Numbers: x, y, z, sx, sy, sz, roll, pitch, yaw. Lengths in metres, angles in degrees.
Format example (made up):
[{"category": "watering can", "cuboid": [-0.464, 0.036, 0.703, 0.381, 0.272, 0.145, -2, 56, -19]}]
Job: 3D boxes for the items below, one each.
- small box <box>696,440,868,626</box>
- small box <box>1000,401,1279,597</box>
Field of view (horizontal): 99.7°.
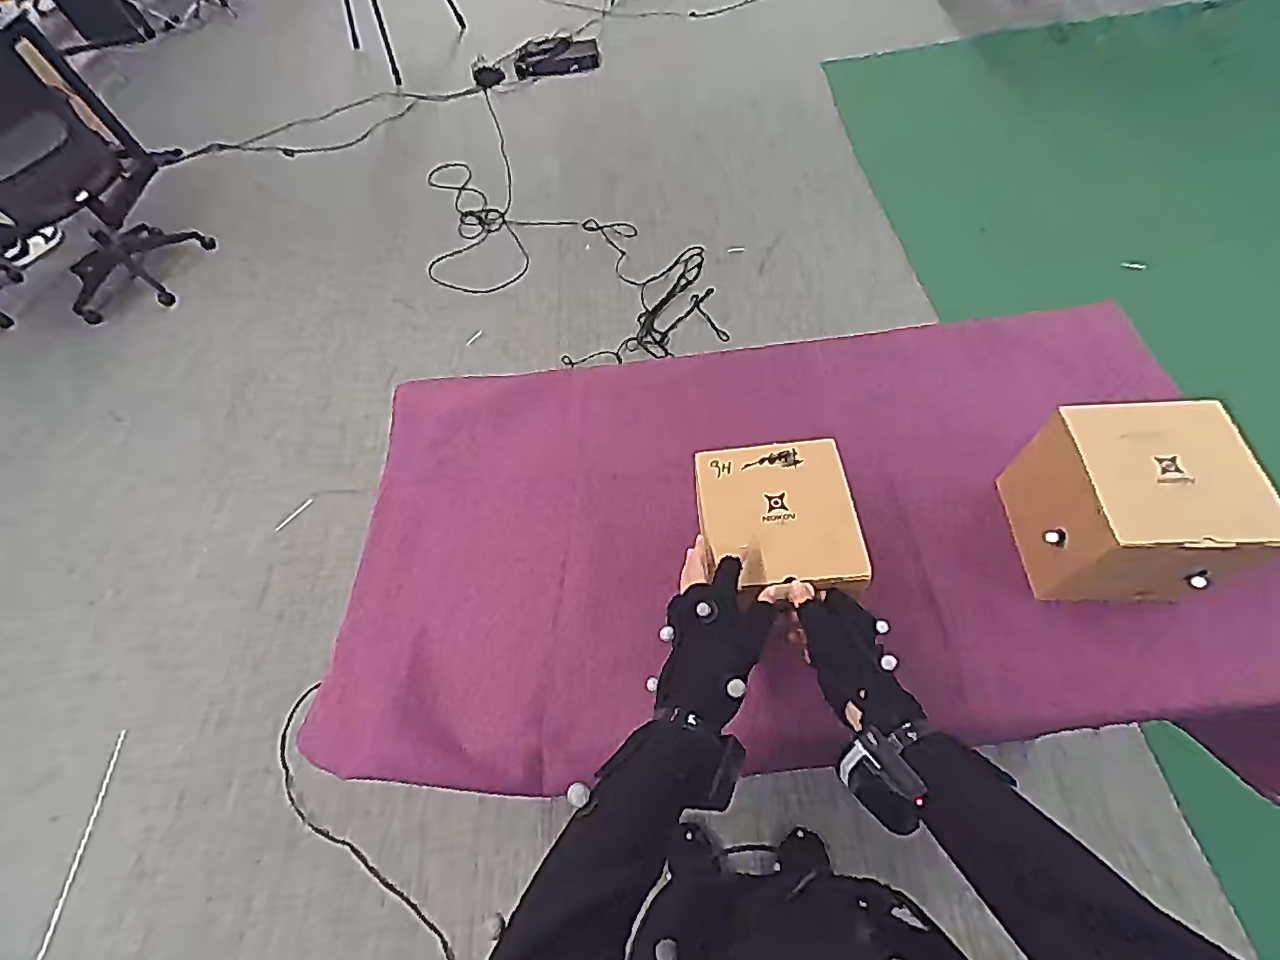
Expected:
[{"category": "small box", "cuboid": [0.160, 0.074, 0.664, 0.168, 0.176, 0.179, -6, 59, 5]}, {"category": "small box", "cuboid": [0.562, 0.030, 0.631, 0.168, 0.176, 0.179, -1, 59, 8]}]
